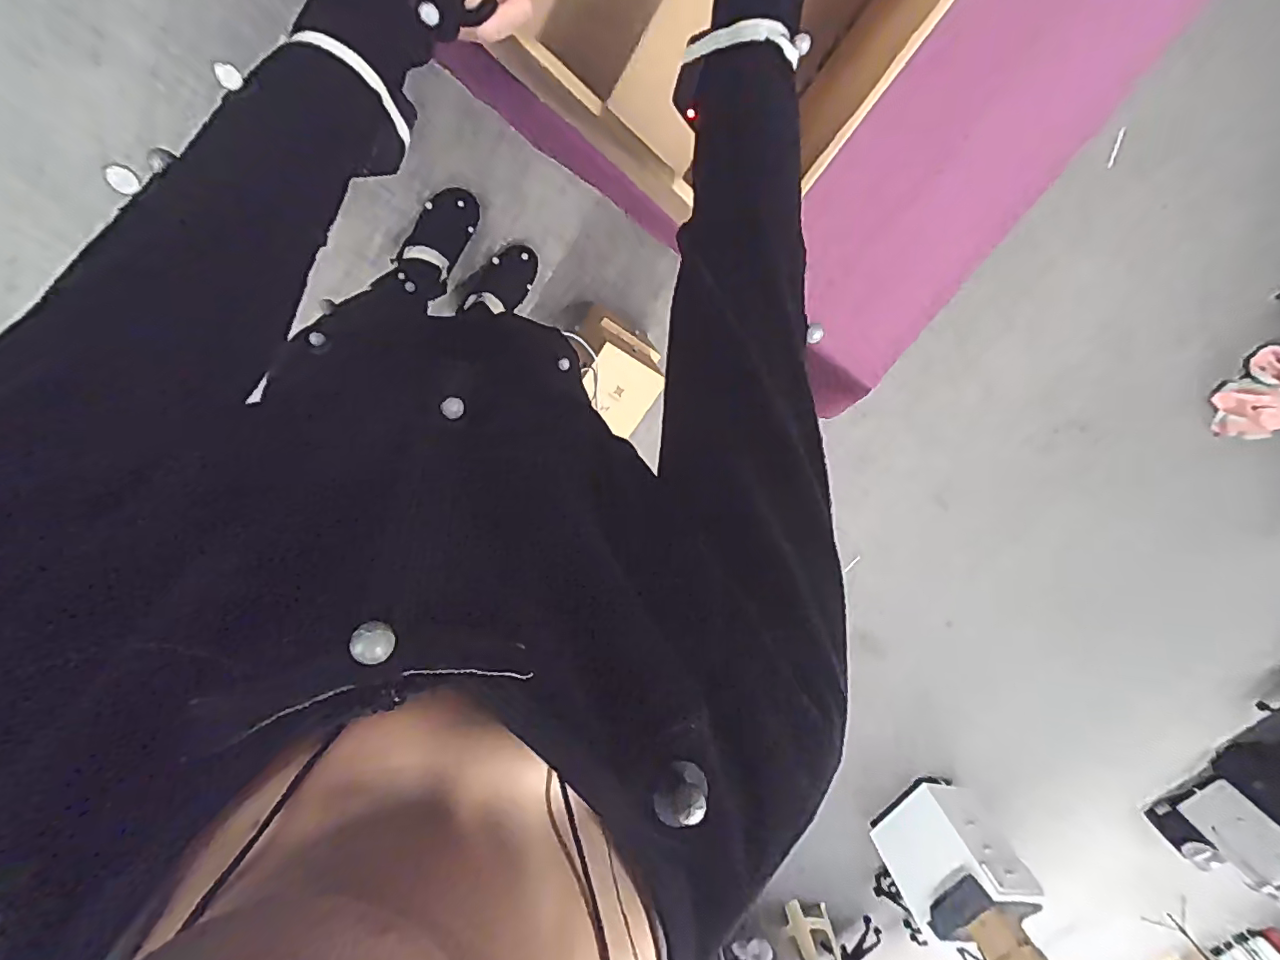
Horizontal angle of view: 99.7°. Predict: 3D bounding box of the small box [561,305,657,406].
[{"bbox_3d":[-0.086,-0.323,1.382,0.179,0.176,0.168,29,110,-26],"label":"small box"}]
